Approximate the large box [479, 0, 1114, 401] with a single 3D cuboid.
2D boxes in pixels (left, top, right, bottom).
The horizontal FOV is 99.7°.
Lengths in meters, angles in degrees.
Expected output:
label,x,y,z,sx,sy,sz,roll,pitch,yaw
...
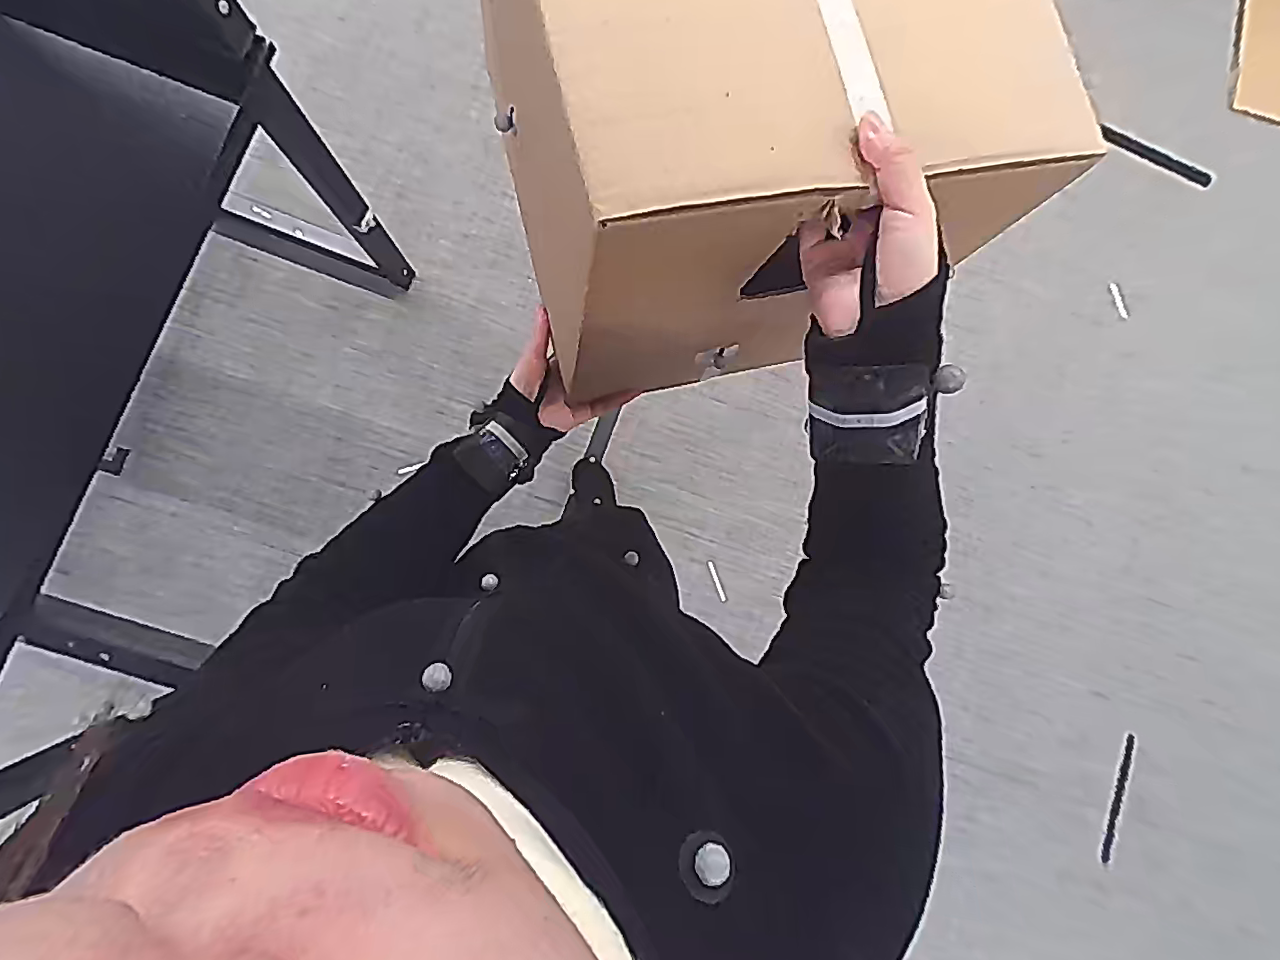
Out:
label,x,y,z,sx,sy,sz,roll,pitch,yaw
large box,0.052,-0.322,0.443,0.320,0.320,0.408,-13,84,-12
